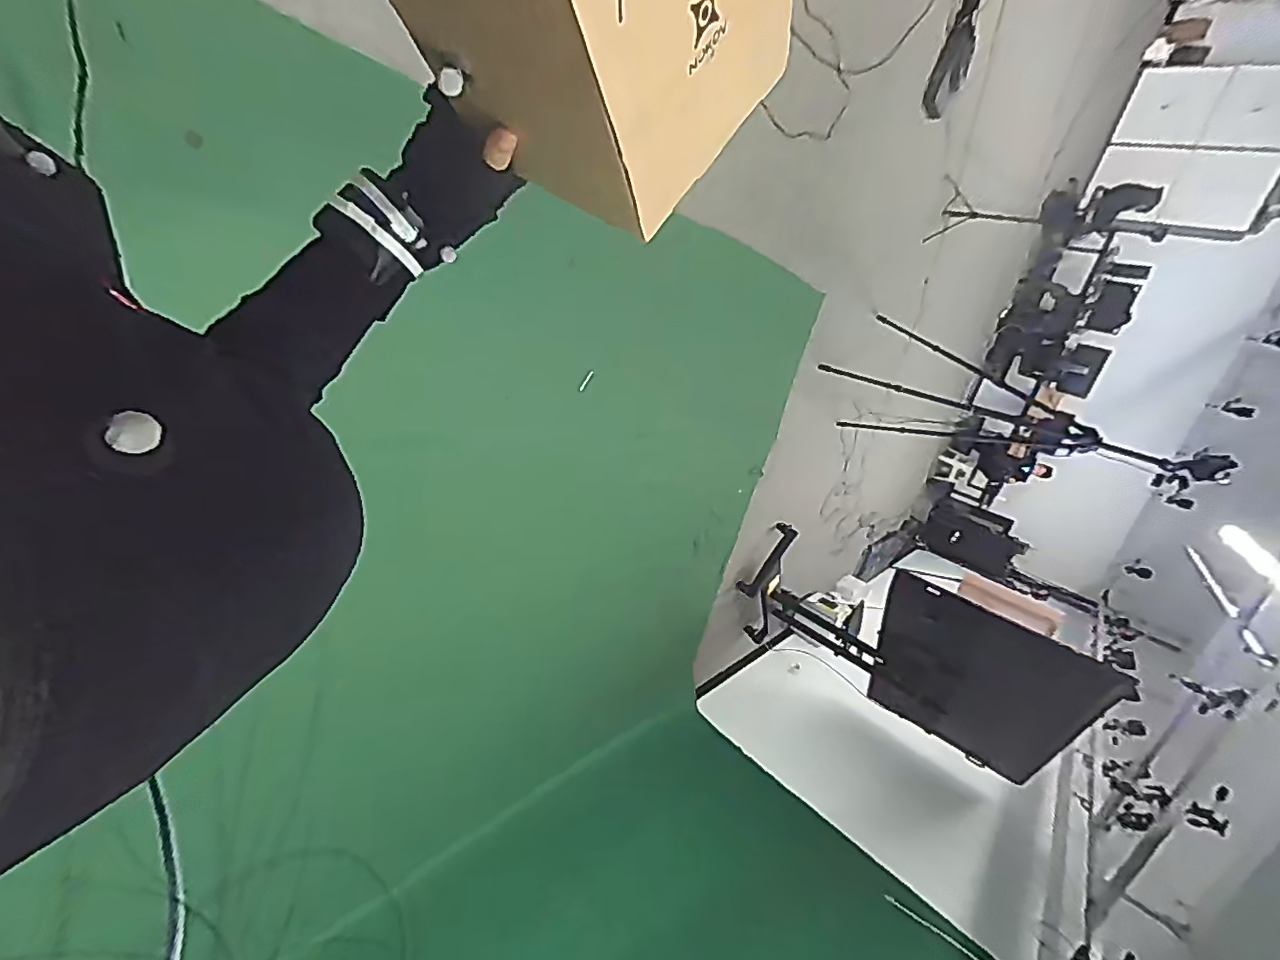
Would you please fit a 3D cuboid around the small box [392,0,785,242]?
[{"bbox_3d":[-0.029,-0.291,0.321,0.168,0.176,0.179,-54,164,-4],"label":"small box"}]
